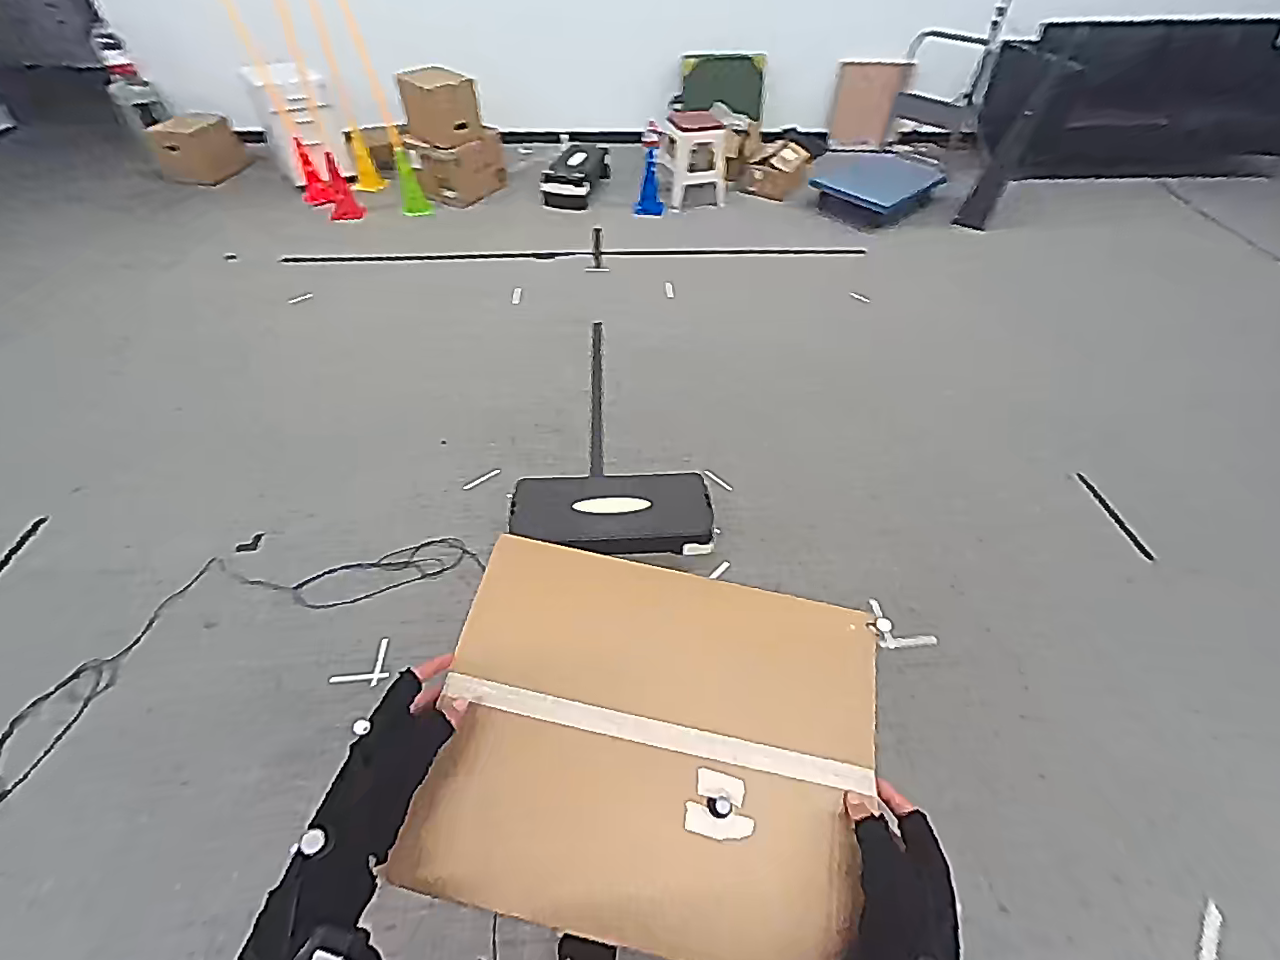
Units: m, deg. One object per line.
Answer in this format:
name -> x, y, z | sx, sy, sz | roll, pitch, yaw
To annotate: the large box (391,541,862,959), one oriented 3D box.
large box -> 0.001, 0.302, 0.644 | 0.408, 0.320, 0.320 | 11, 62, 3
